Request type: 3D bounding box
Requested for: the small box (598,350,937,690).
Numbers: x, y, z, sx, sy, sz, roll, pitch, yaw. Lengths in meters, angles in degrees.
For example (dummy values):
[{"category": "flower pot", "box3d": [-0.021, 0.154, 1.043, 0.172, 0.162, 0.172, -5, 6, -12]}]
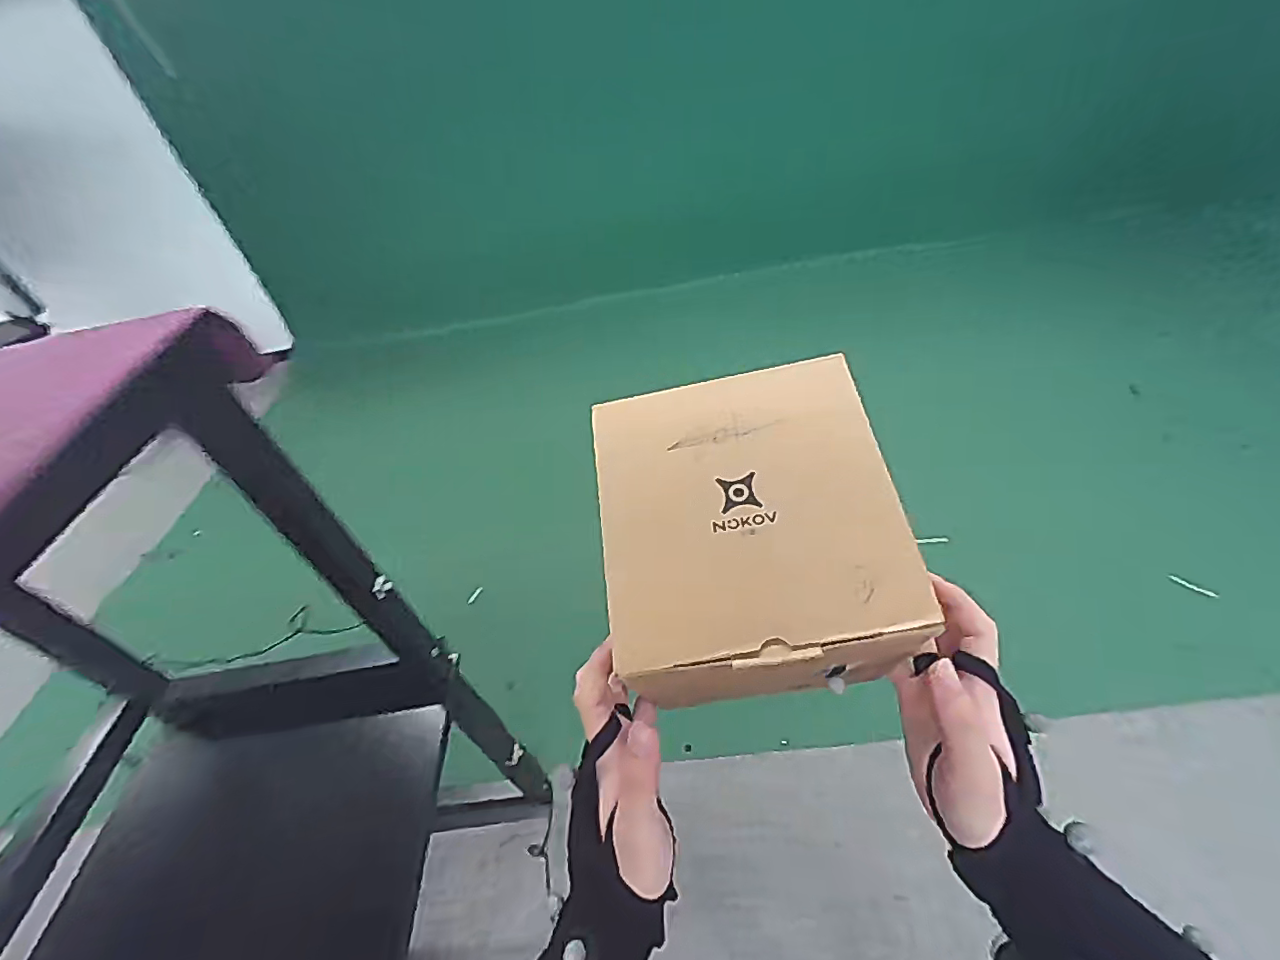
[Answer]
[{"category": "small box", "box3d": [0.075, 0.044, 0.379, 0.168, 0.176, 0.179, -10, 60, 7]}]
